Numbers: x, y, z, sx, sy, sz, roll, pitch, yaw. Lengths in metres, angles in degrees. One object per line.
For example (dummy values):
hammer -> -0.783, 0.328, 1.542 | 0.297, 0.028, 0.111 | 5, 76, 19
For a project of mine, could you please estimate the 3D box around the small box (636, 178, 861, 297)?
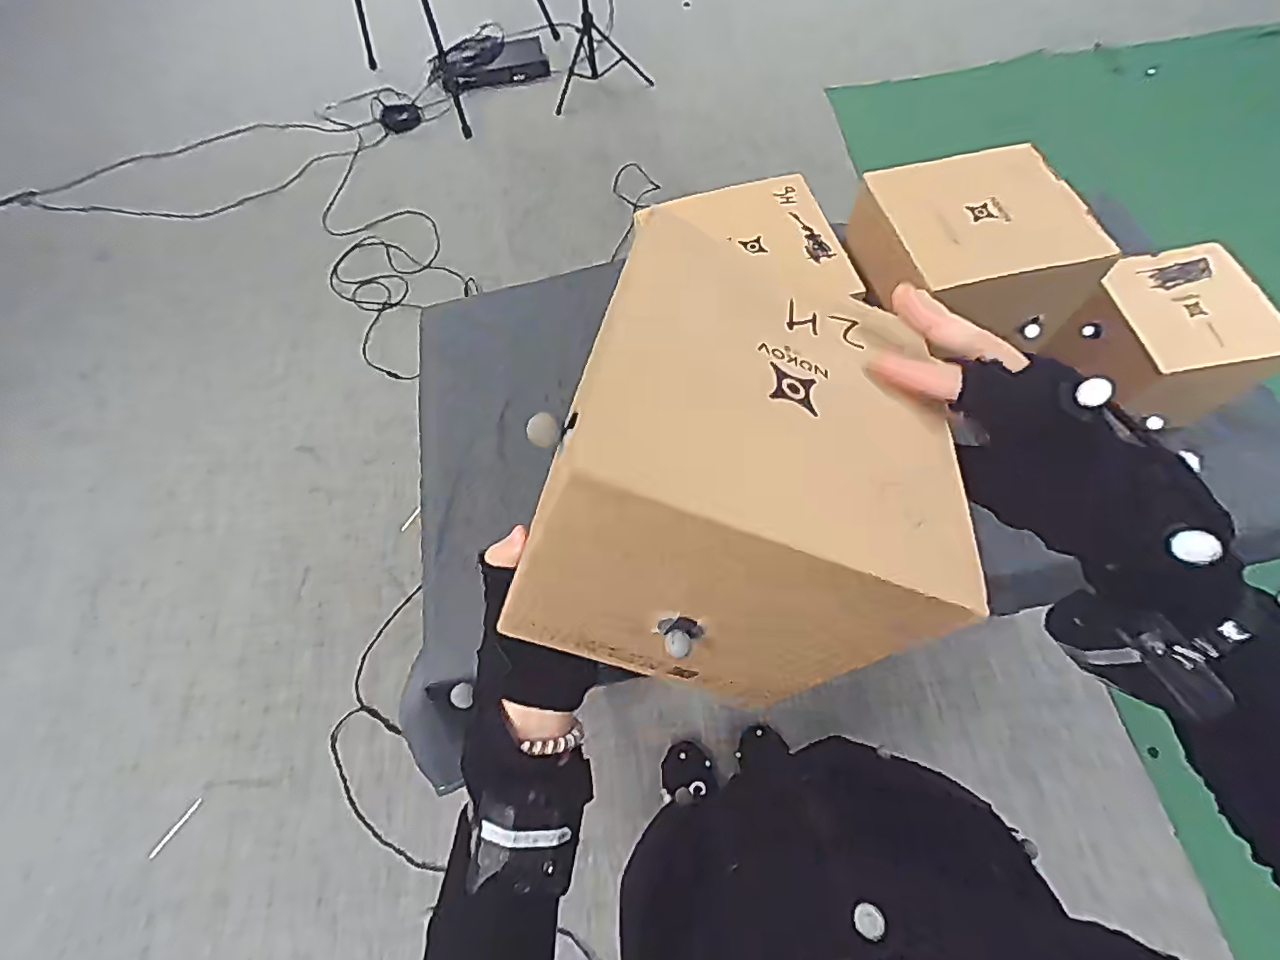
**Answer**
small box -> 0.104, -0.182, 0.586 | 0.179, 0.176, 0.168 | -14, 65, -2

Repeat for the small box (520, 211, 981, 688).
small box -> 0.040, -0.001, 0.301 | 0.168, 0.176, 0.179 | 19, 53, -11
